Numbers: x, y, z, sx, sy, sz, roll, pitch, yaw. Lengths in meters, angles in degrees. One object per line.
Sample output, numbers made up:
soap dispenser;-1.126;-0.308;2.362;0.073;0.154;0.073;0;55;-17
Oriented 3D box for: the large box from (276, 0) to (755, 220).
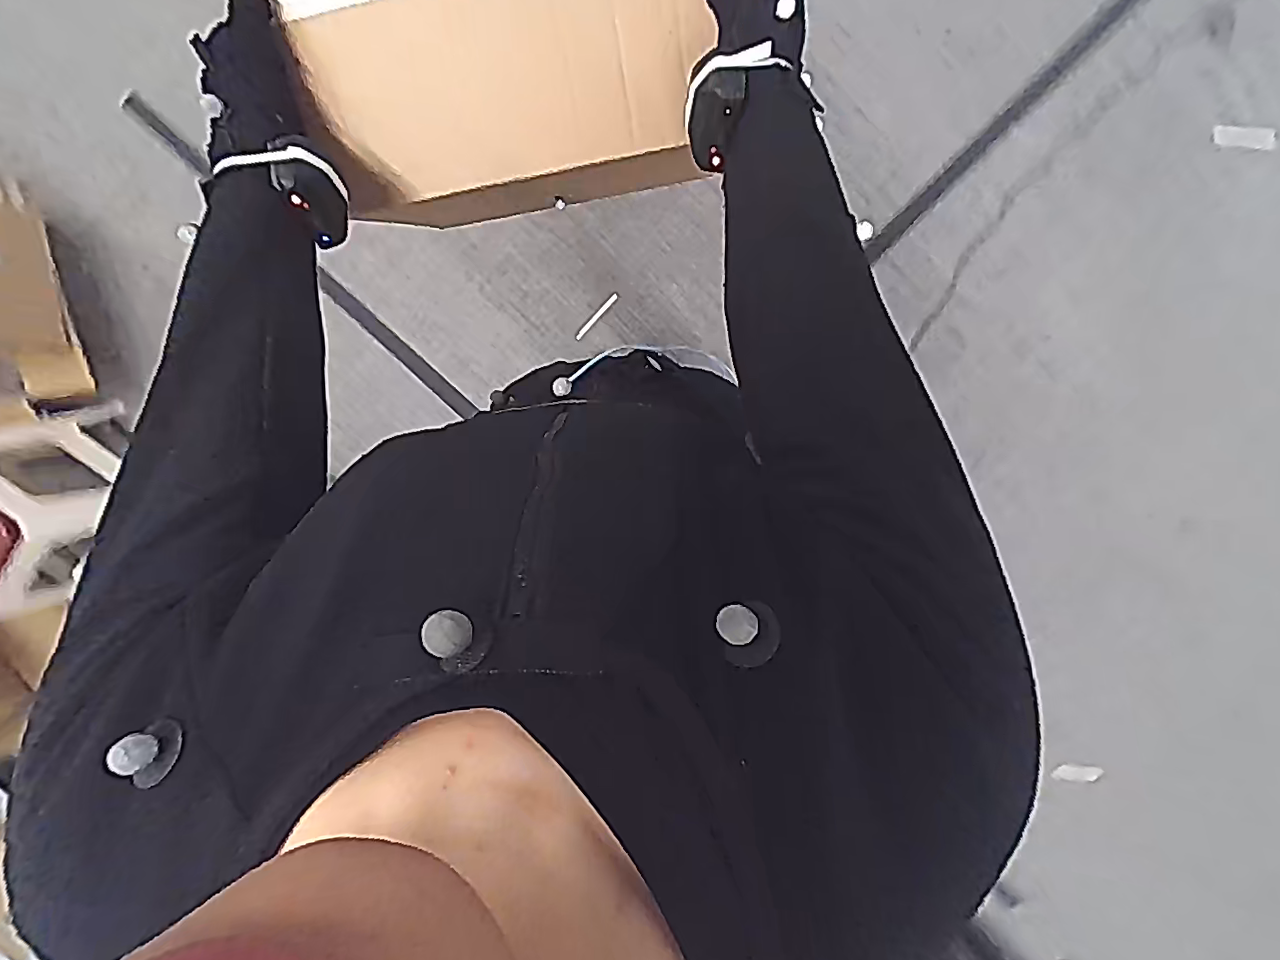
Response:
large box;-0.108;-0.486;0.584;0.408;0.320;0.320;-7;112;6
